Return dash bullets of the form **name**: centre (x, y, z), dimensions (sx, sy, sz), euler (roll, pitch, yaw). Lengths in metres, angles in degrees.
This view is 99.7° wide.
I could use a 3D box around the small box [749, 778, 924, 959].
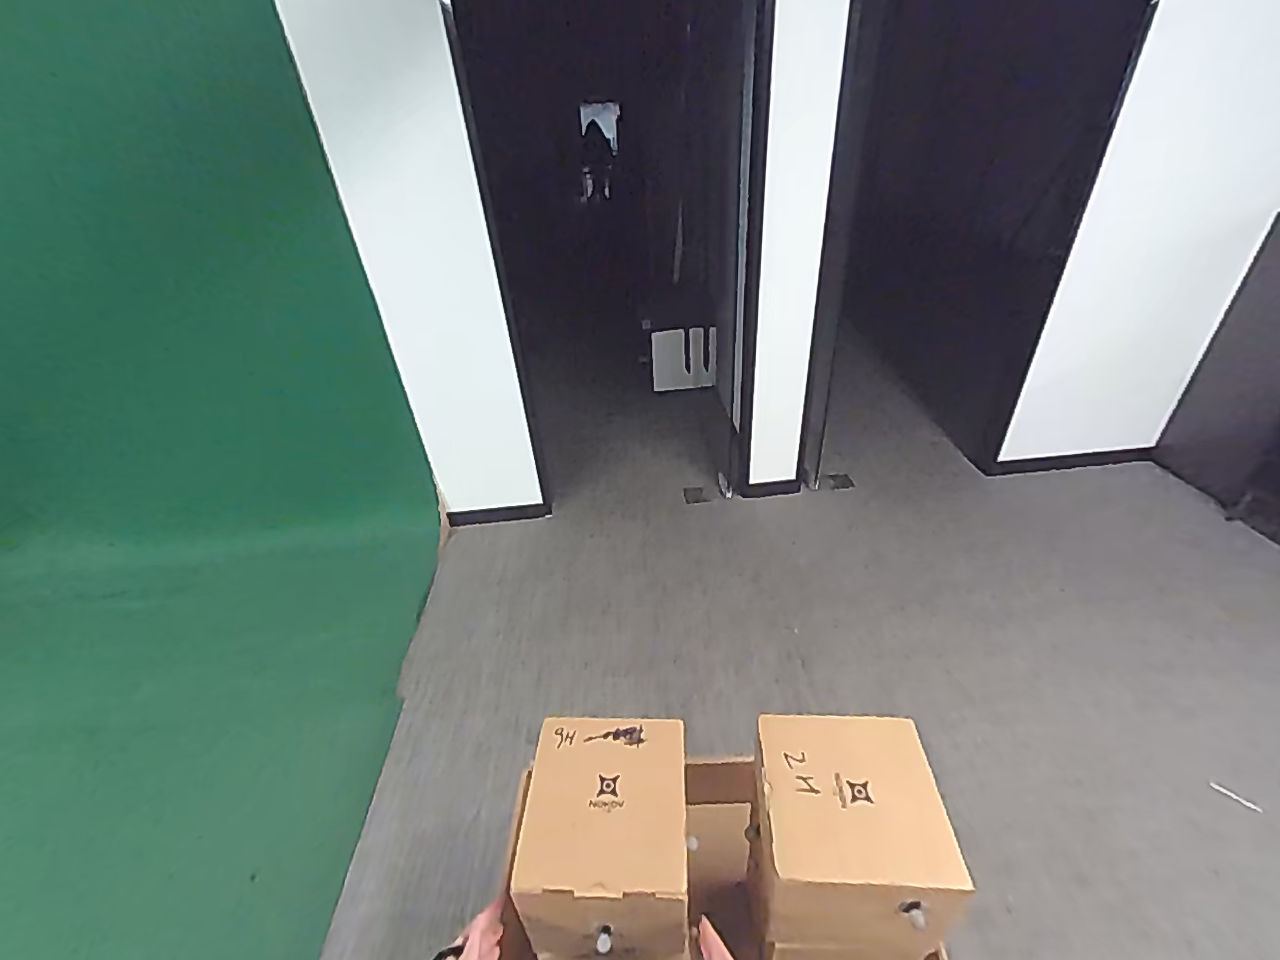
- **small box**: centre (0.233, 0.514, 0.694), dimensions (0.168, 0.176, 0.179), euler (-3, 35, 6)
